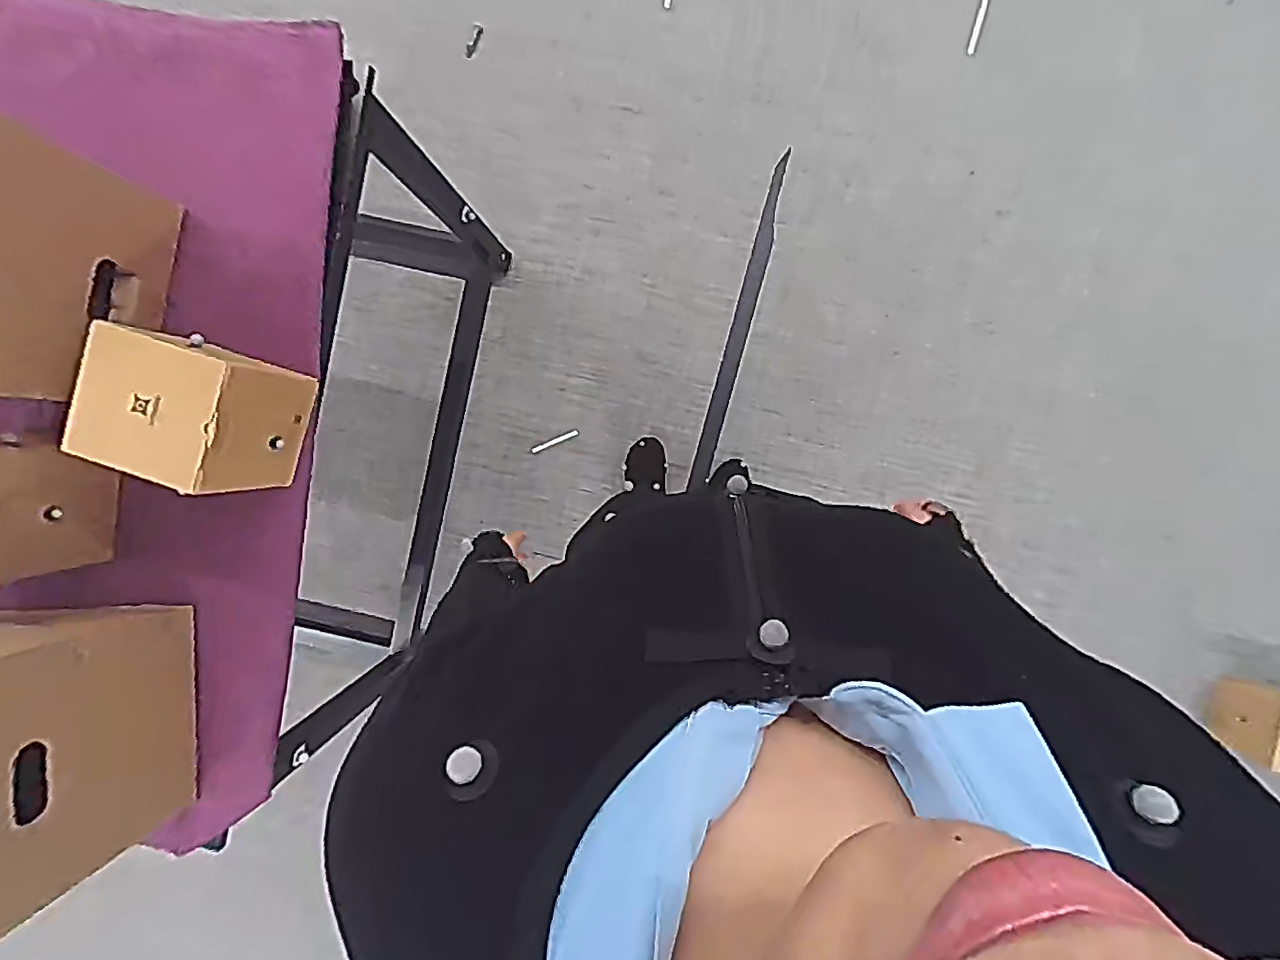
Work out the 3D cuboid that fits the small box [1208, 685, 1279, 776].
[{"bbox_3d":[1.606,0.635,1.358,0.179,0.176,0.168,10,94,2],"label":"small box"}]
